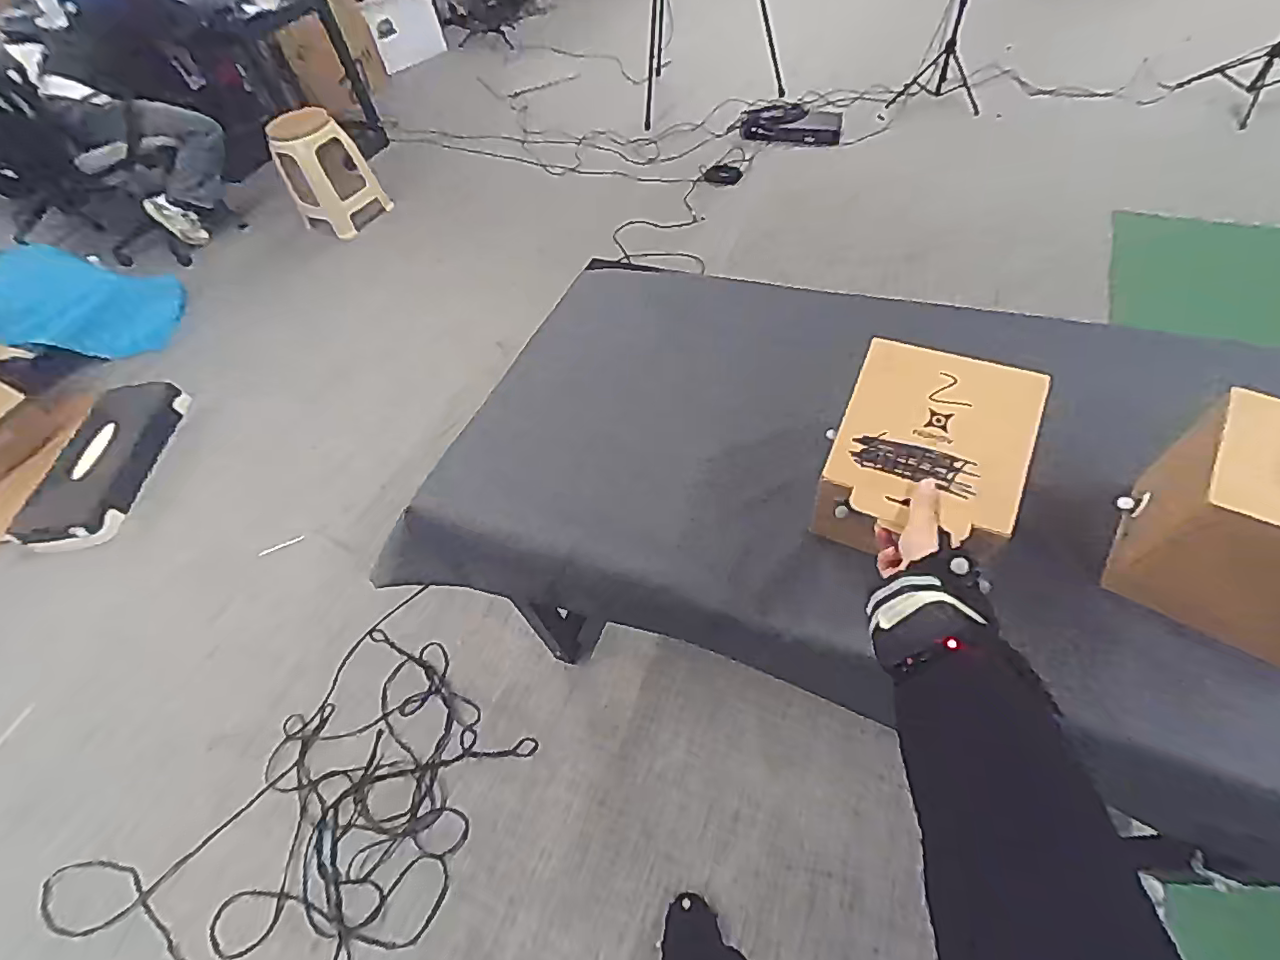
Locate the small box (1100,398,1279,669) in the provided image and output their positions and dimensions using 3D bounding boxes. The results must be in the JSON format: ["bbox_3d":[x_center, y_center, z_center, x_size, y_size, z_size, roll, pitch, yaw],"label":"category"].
[{"bbox_3d":[0.608,0.058,0.523,0.179,0.176,0.168,29,62,27],"label":"small box"}]
